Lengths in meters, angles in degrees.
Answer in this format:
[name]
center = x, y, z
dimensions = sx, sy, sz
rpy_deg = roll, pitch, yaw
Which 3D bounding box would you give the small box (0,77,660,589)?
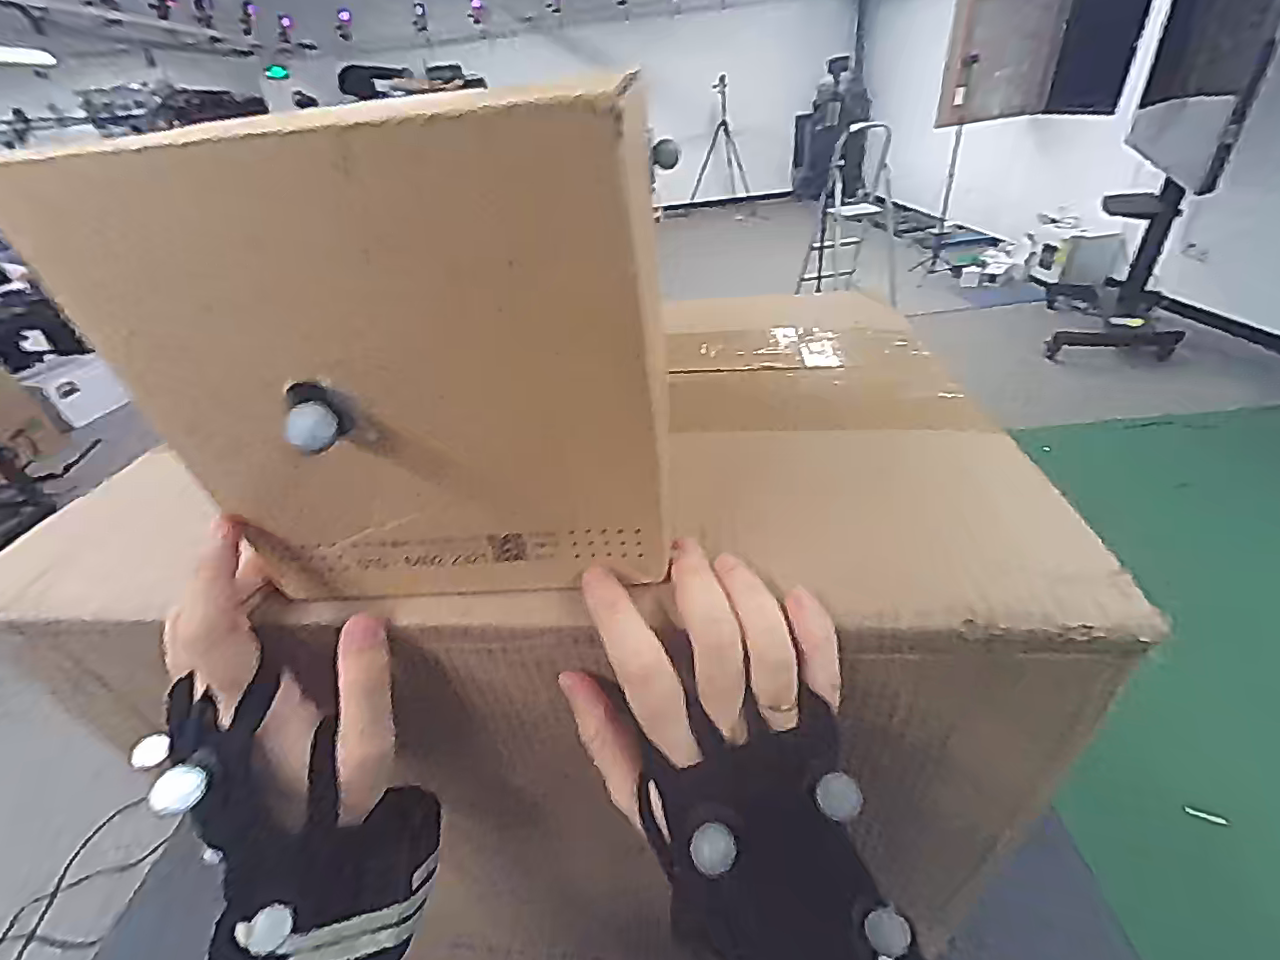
[small box]
center = -0.079, -0.063, 0.245
dimensions = 0.168, 0.176, 0.179
rpy_deg = -4, 38, 5
